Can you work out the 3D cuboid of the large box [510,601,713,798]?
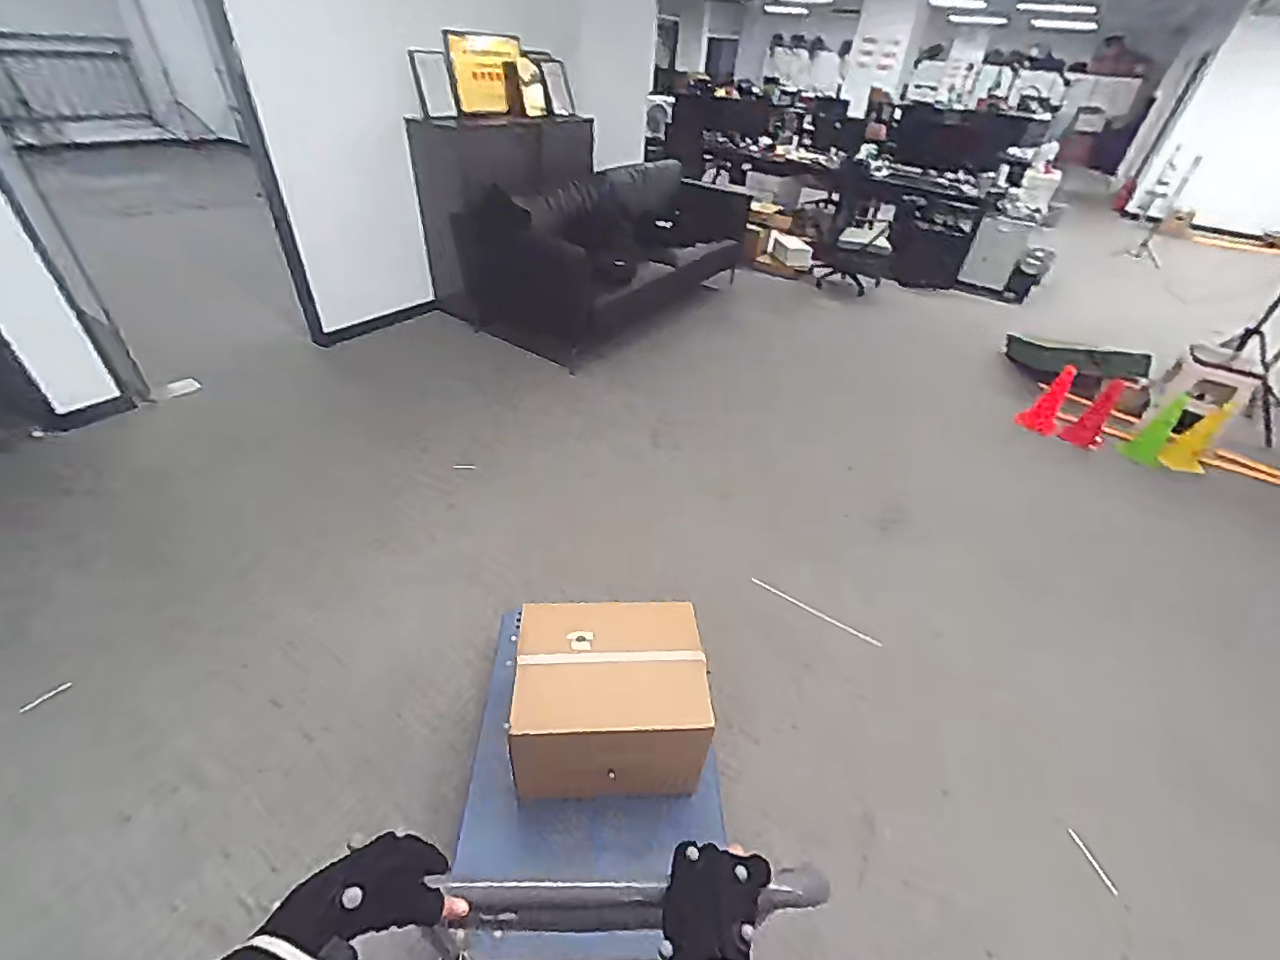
[{"bbox_3d":[-0.073,0.505,1.256,0.408,0.320,0.320,0,38,-6],"label":"large box"}]
